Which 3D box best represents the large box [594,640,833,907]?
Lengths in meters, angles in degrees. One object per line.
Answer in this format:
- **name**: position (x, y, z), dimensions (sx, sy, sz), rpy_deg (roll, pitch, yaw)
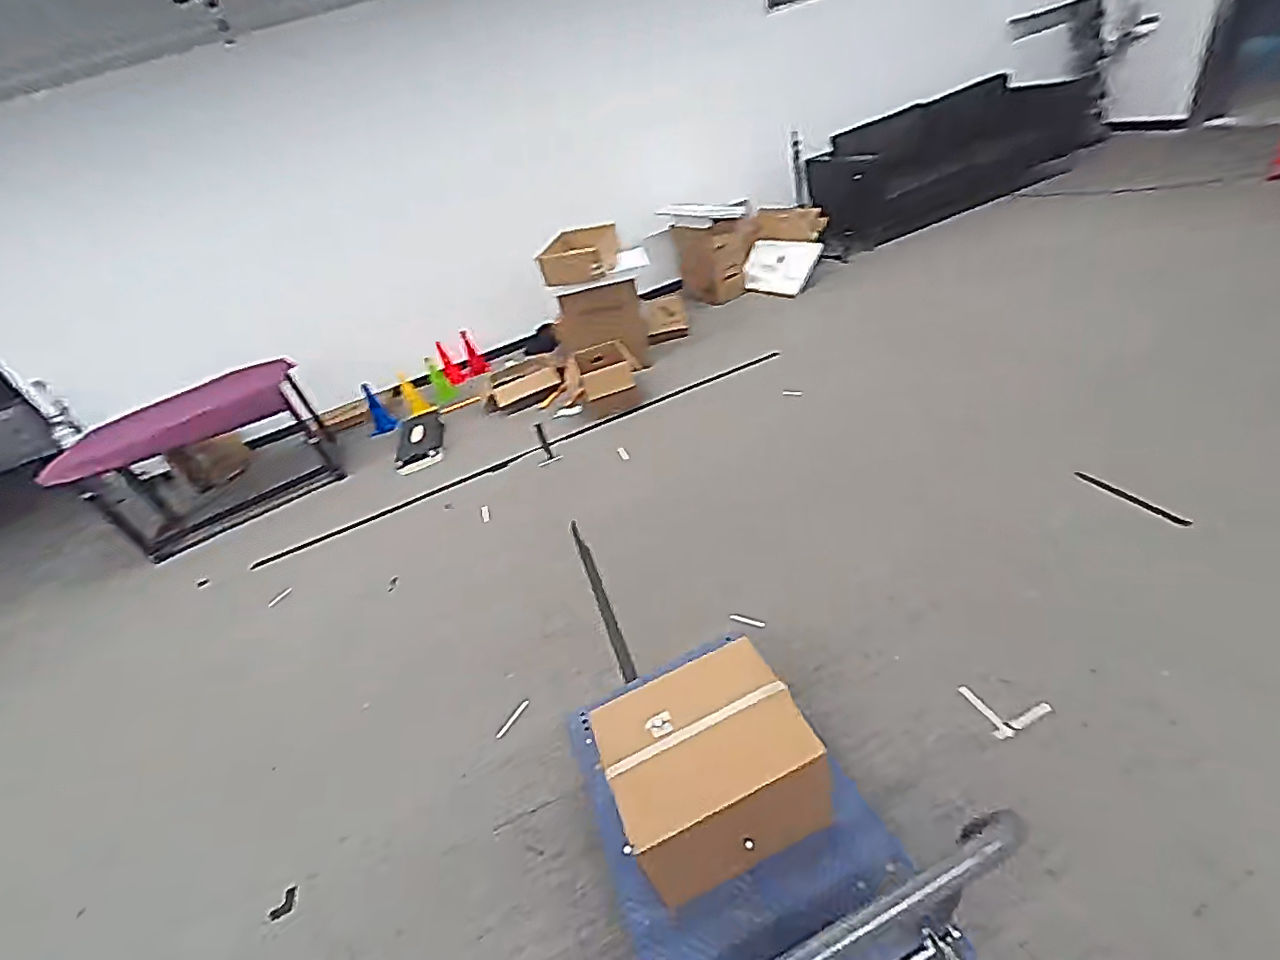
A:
- **large box**: position (0.164, 0.642, 1.208), dimensions (0.408, 0.320, 0.320), rpy_deg (-24, 34, -8)
